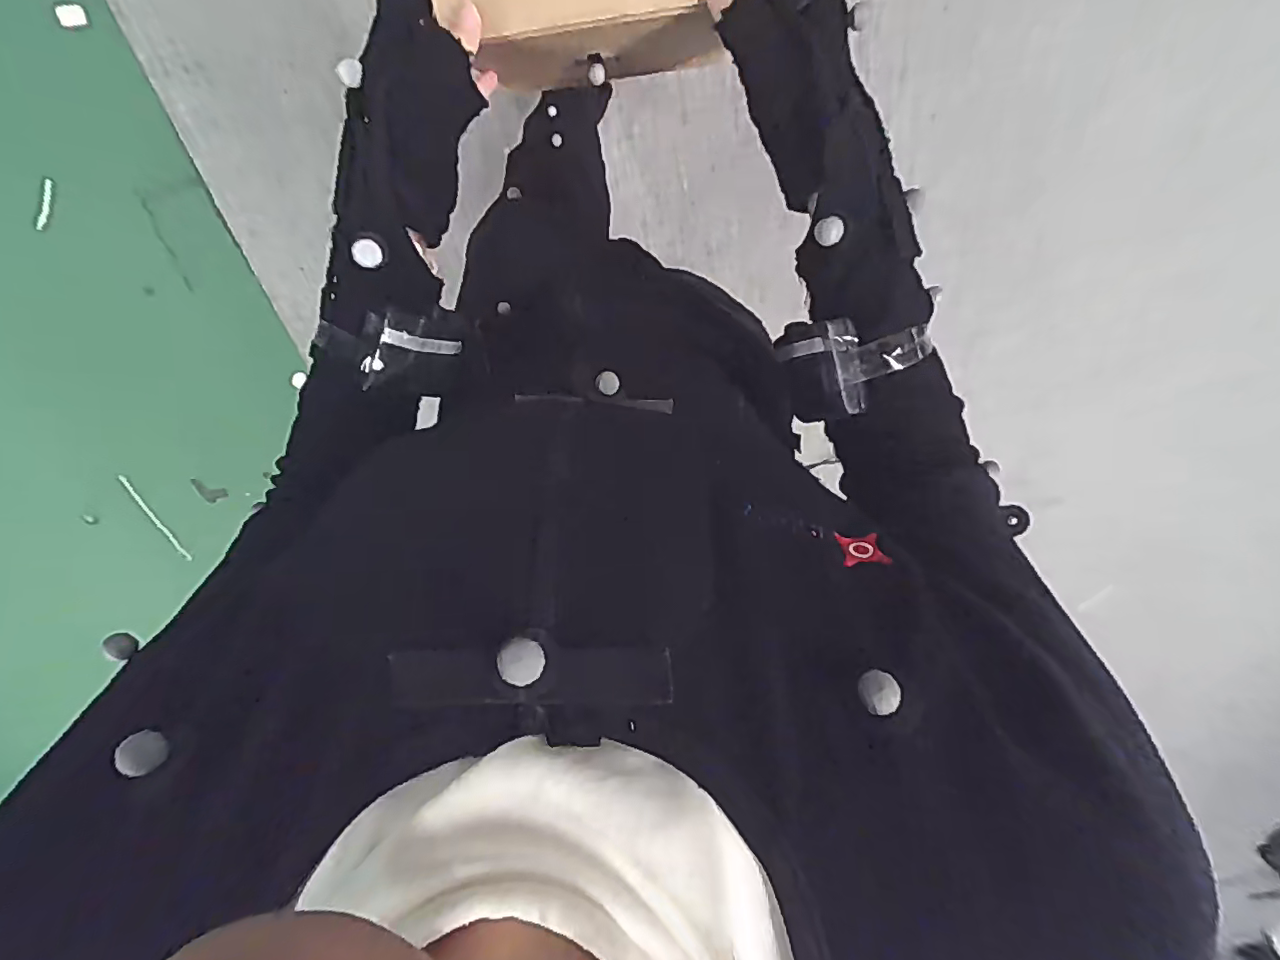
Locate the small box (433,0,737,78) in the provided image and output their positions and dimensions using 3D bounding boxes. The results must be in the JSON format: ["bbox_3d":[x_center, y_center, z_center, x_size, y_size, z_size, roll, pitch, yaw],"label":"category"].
[{"bbox_3d":[-0.033,-0.372,0.335,0.179,0.176,0.168,-4,118,7],"label":"small box"}]
